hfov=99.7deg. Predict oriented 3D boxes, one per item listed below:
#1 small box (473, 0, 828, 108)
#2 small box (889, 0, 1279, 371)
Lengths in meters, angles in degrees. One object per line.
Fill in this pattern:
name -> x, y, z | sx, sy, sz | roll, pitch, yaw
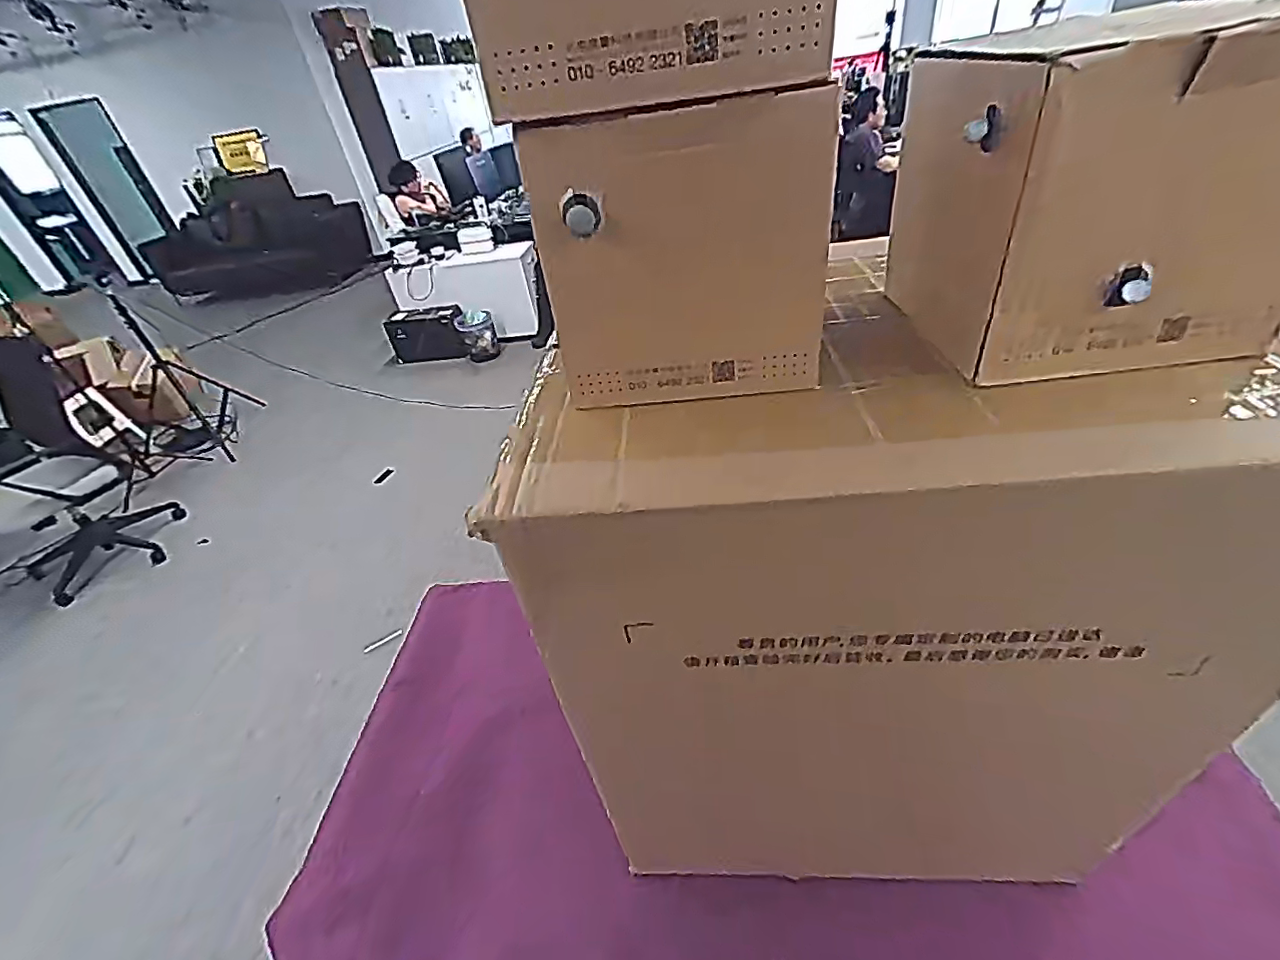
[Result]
small box -> -0.001, -0.301, 0.275 | 0.168, 0.176, 0.179 | -5, 37, 3
small box -> 0.275, -0.187, 0.342 | 0.168, 0.176, 0.179 | -6, 38, 6
